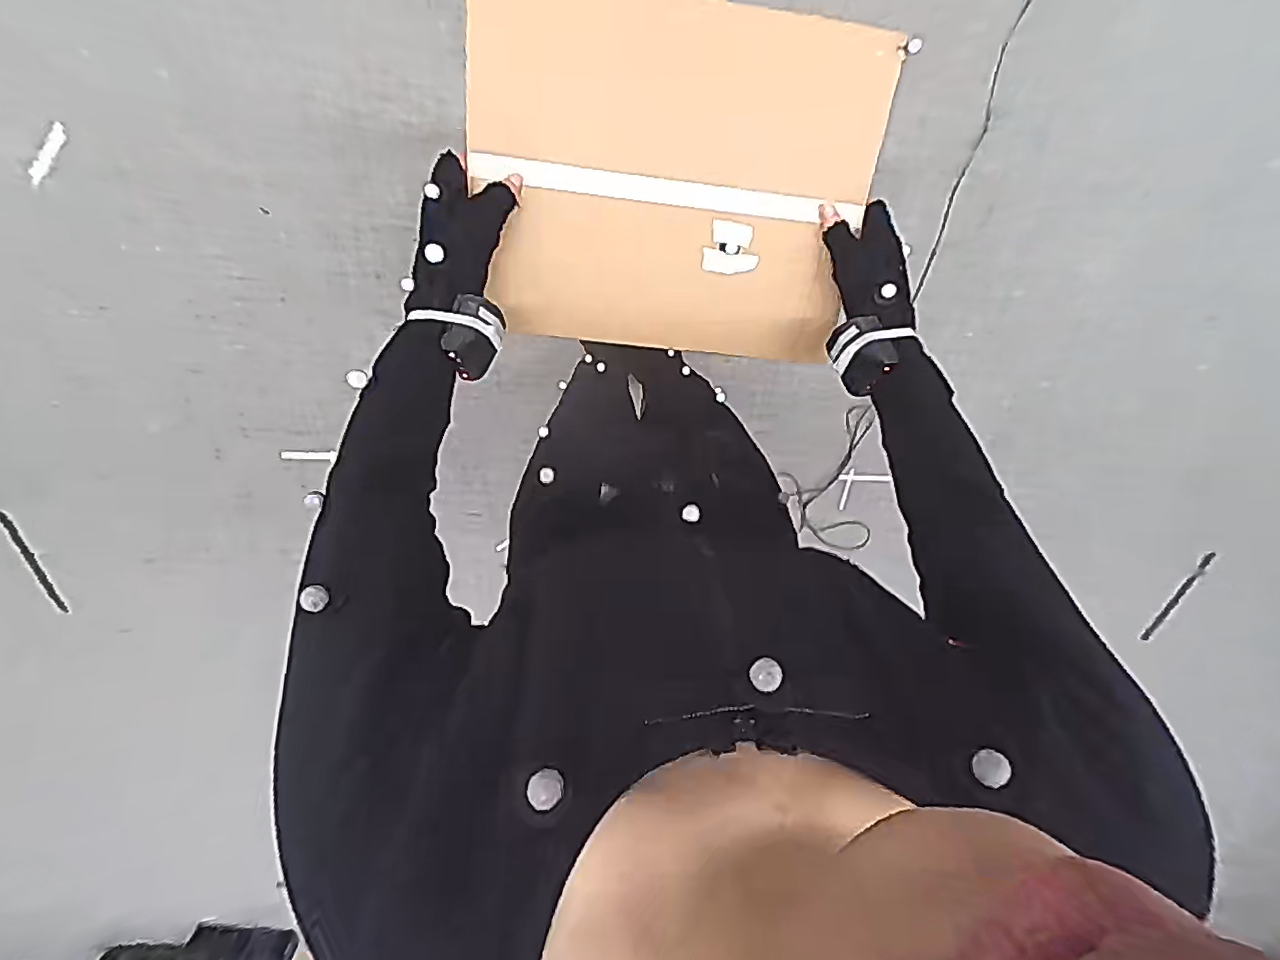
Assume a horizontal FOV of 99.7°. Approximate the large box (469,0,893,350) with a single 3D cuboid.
[{"bbox_3d":[0.018,-0.360,0.686,0.408,0.320,0.320,4,114,-7],"label":"large box"}]
